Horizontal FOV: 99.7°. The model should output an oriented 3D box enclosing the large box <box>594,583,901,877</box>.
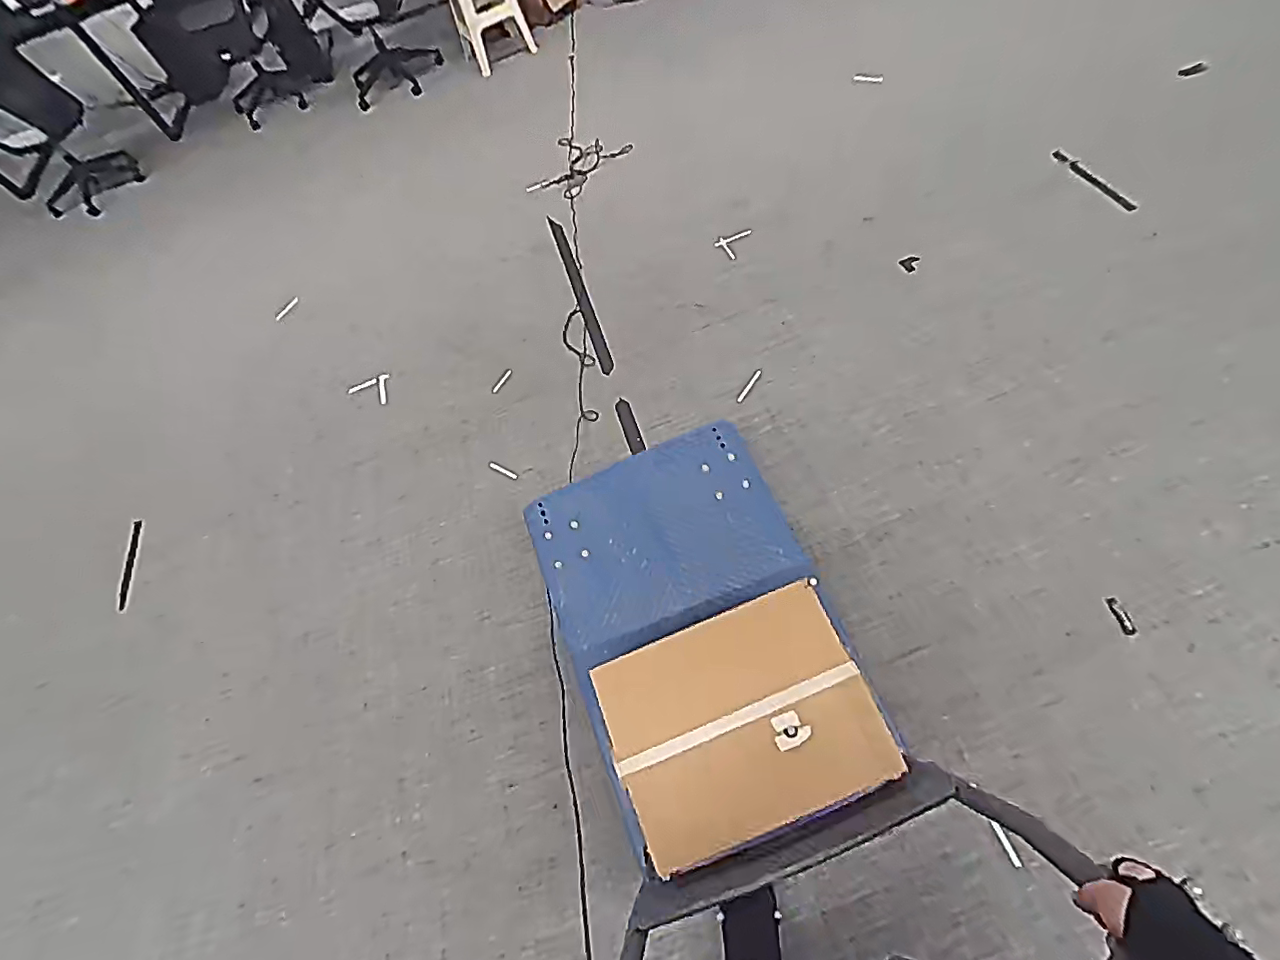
[{"bbox_3d":[0.174,0.437,0.997,0.408,0.320,0.320,-23,68,-2],"label":"large box"}]
